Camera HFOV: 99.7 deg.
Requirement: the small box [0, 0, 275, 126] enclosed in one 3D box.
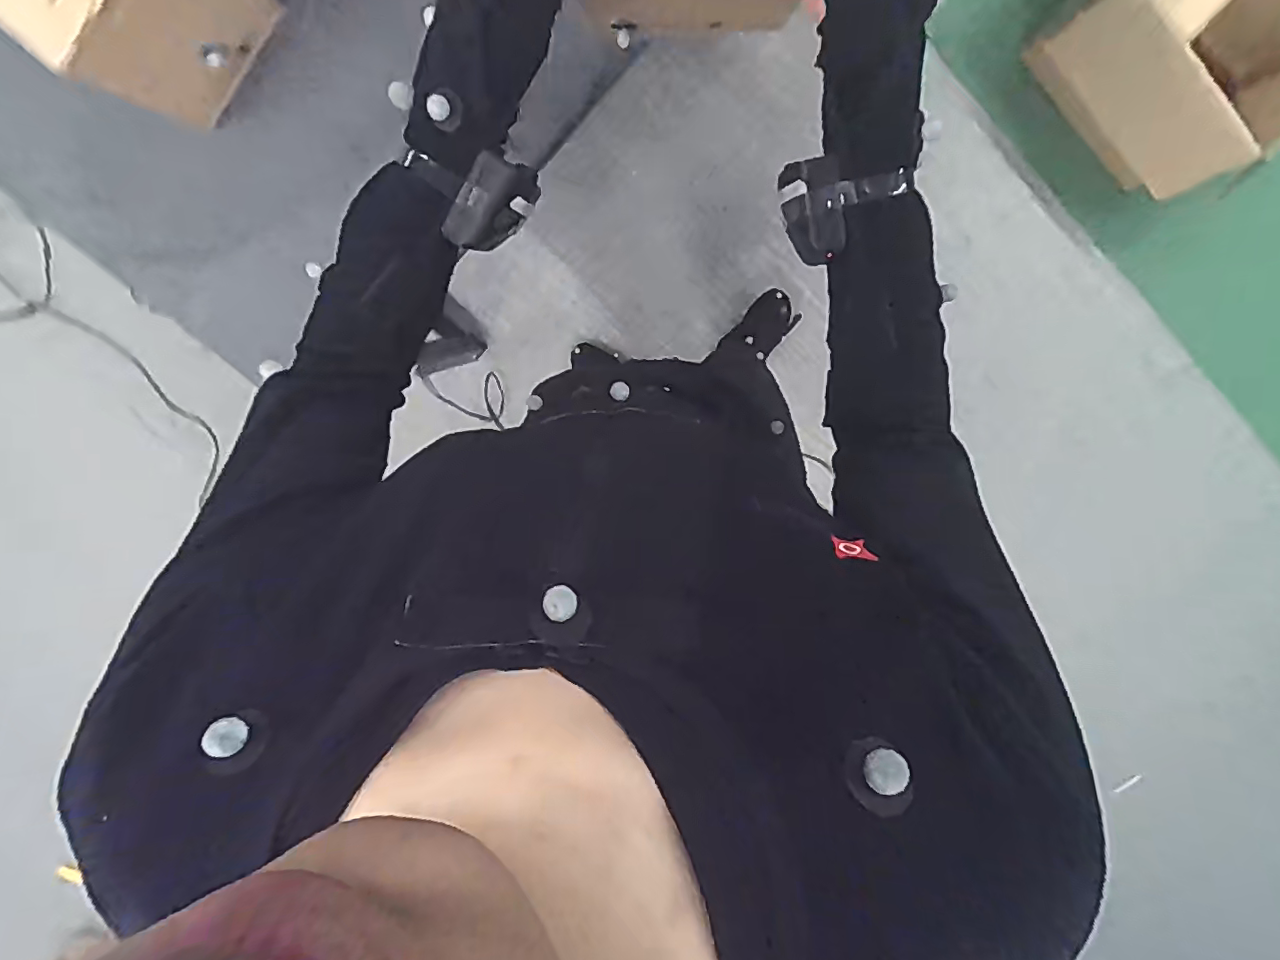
[{"bbox_3d":[-0.512,-0.488,0.517,0.179,0.176,0.168,43,104,-11],"label":"small box"}]
